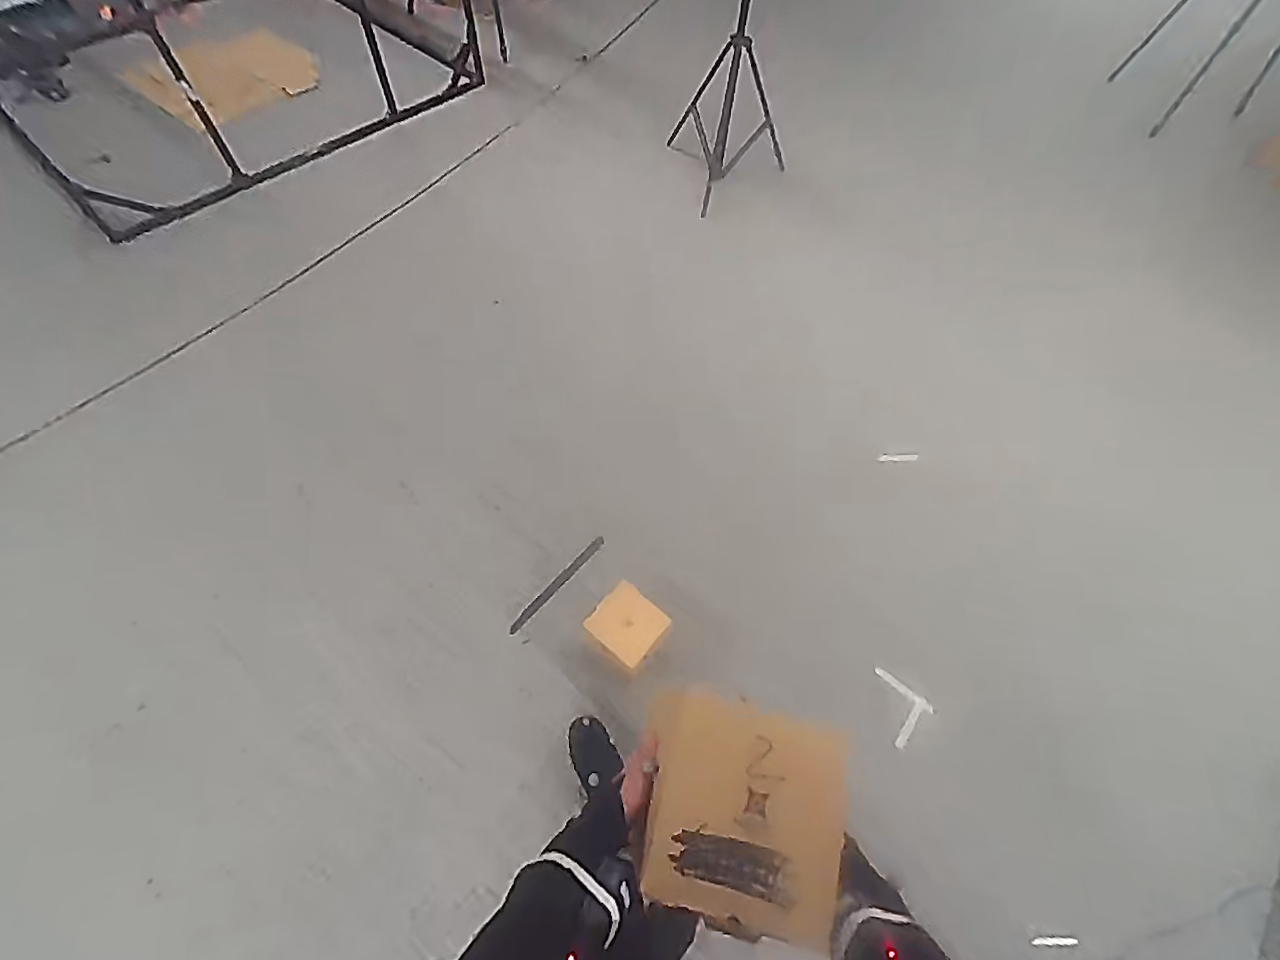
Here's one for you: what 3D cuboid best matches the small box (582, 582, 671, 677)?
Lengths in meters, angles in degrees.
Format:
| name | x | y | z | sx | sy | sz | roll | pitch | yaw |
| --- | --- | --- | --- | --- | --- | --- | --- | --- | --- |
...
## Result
| name | x | y | z | sx | sy | sz | roll | pitch | yaw |
| --- | --- | --- | --- | --- | --- | --- | --- | --- | --- |
| small box | -0.035 | 0.413 | 1.472 | 0.179 | 0.176 | 0.168 | 36 | 65 | 18 |

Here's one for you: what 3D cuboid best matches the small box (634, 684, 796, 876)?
| name | x | y | z | sx | sy | sz | roll | pitch | yaw |
| --- | --- | --- | --- | --- | --- | --- | --- | --- | --- |
| small box | 0.090 | 0.375 | 0.710 | 0.168 | 0.176 | 0.179 | 13 | 70 | 0 |
